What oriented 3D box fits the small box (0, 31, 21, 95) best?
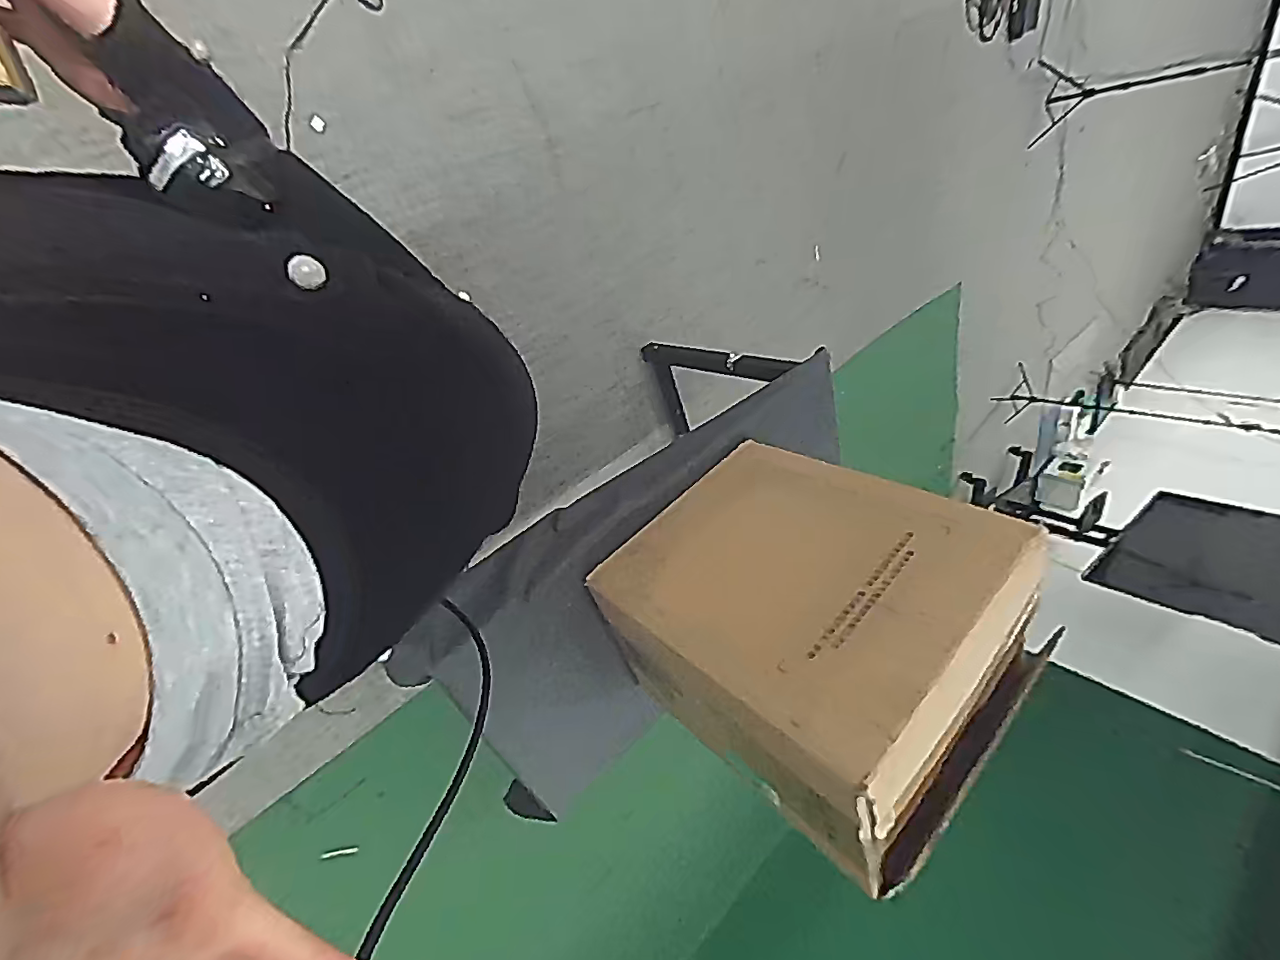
[{"bbox_3d":[-0.425,-0.263,0.223,0.179,0.176,0.168,-23,129,-33],"label":"small box"}]
